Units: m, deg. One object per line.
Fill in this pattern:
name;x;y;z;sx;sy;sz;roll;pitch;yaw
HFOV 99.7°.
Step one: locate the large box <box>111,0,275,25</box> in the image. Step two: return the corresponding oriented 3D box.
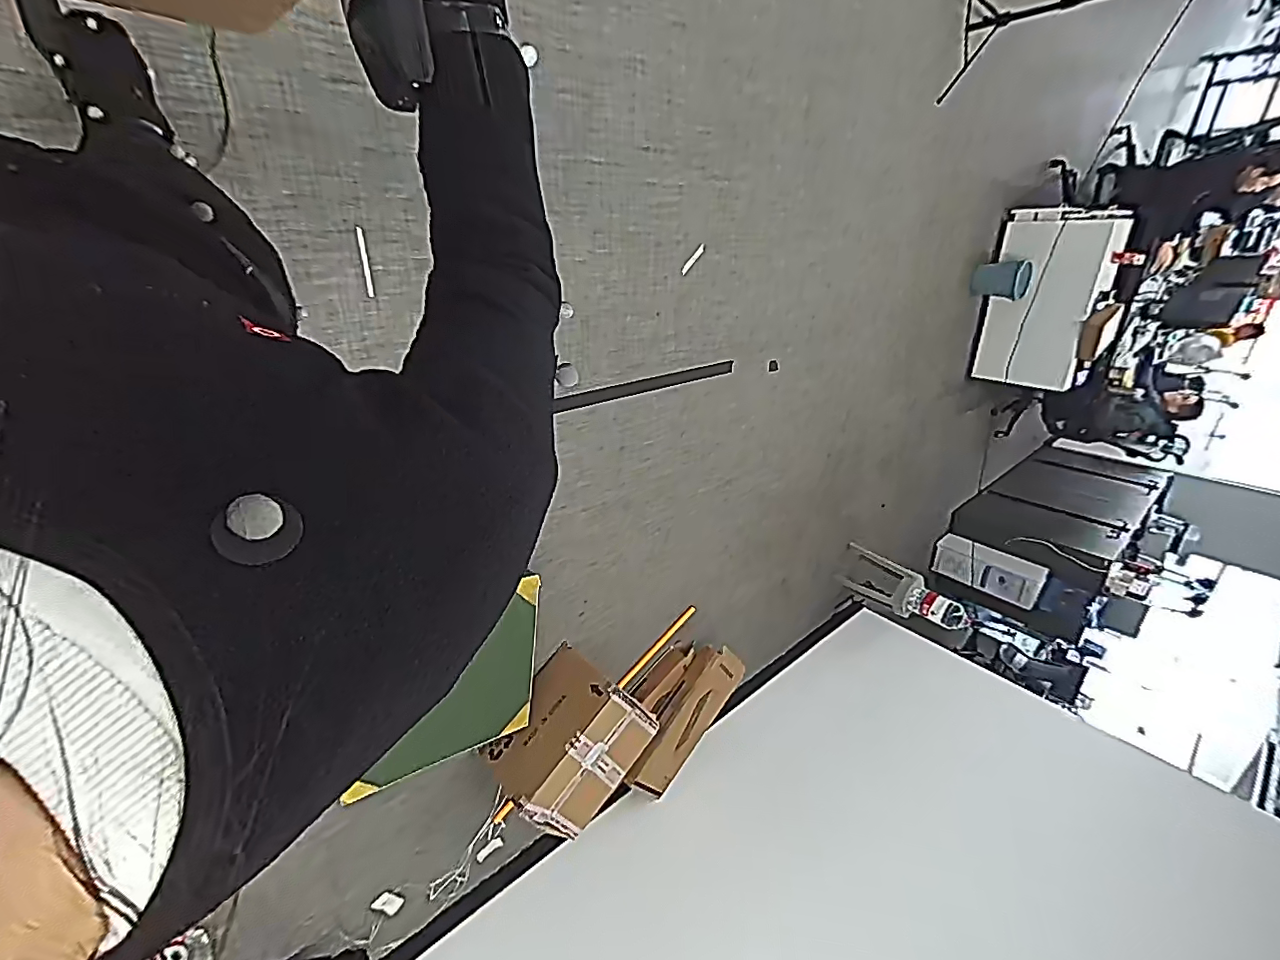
large box;-0.395;-0.434;0.207;0.408;0.320;0.320;-20;127;-37
